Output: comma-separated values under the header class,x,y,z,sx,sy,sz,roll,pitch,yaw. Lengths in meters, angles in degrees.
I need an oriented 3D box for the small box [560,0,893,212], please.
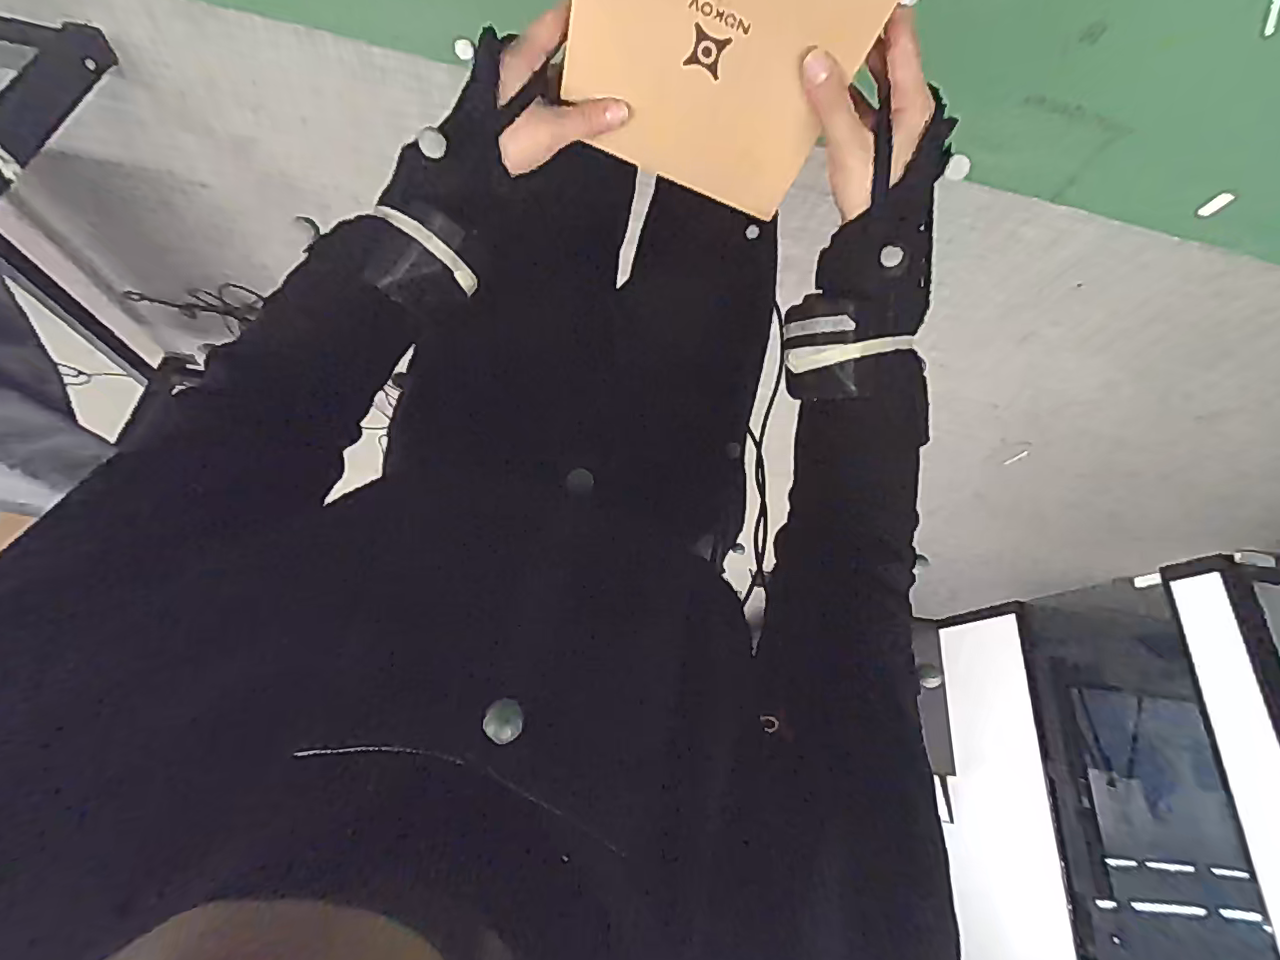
class,x,y,z,sx,sy,sz,roll,pitch,yaw
small box,0.062,-0.323,0.344,0.168,0.176,0.179,20,154,-7
